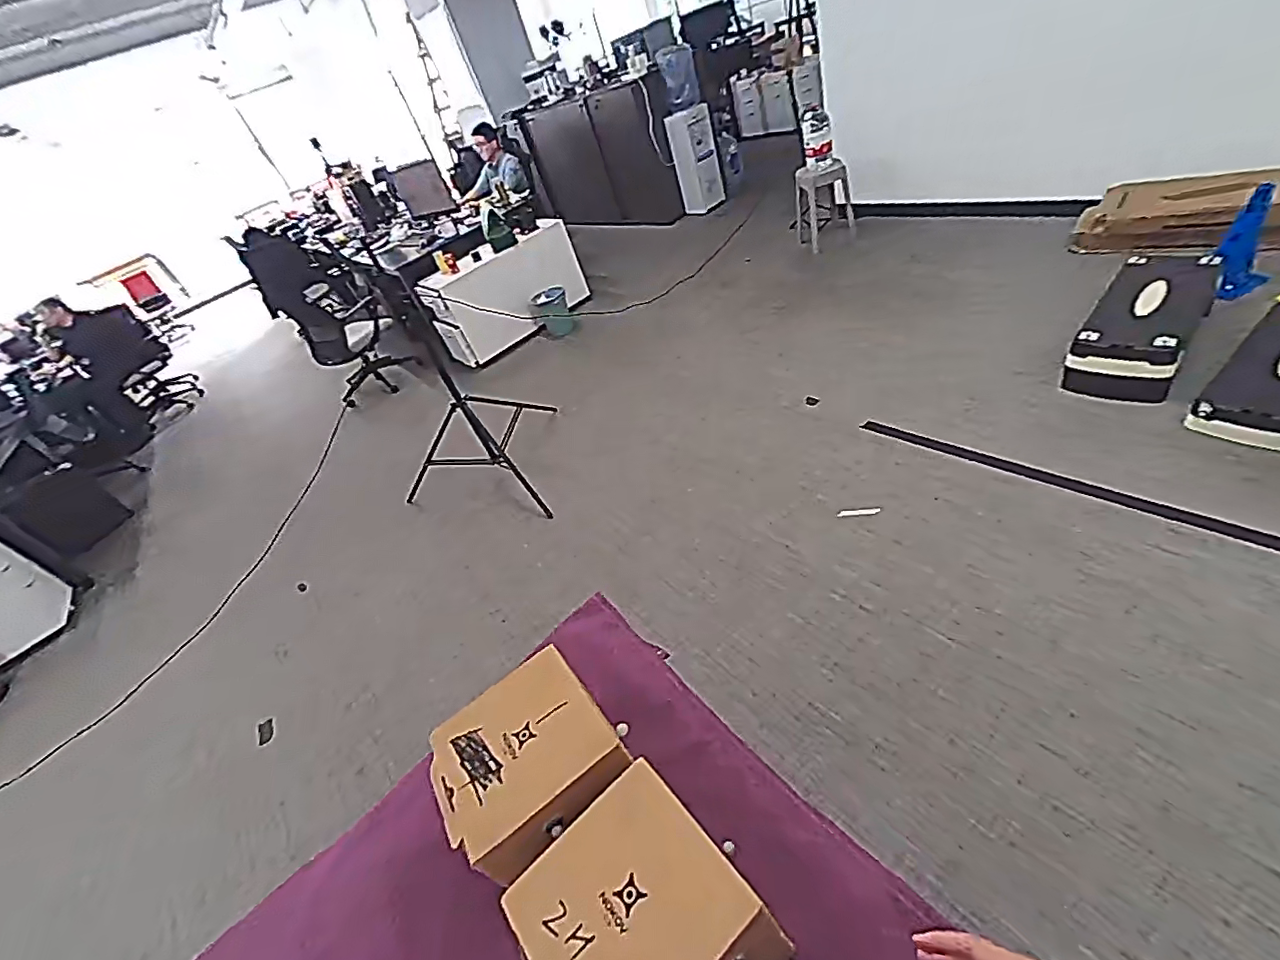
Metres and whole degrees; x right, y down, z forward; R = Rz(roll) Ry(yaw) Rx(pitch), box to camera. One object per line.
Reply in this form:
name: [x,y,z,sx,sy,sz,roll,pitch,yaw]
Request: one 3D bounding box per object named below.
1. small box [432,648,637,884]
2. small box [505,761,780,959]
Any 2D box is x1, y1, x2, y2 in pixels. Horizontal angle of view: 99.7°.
small box: [-0.112,0.348,0.647,0.179,0.176,0.168,-34,41,-16]
small box: [0.012,0.417,0.505,0.179,0.176,0.168,-38,39,-18]
